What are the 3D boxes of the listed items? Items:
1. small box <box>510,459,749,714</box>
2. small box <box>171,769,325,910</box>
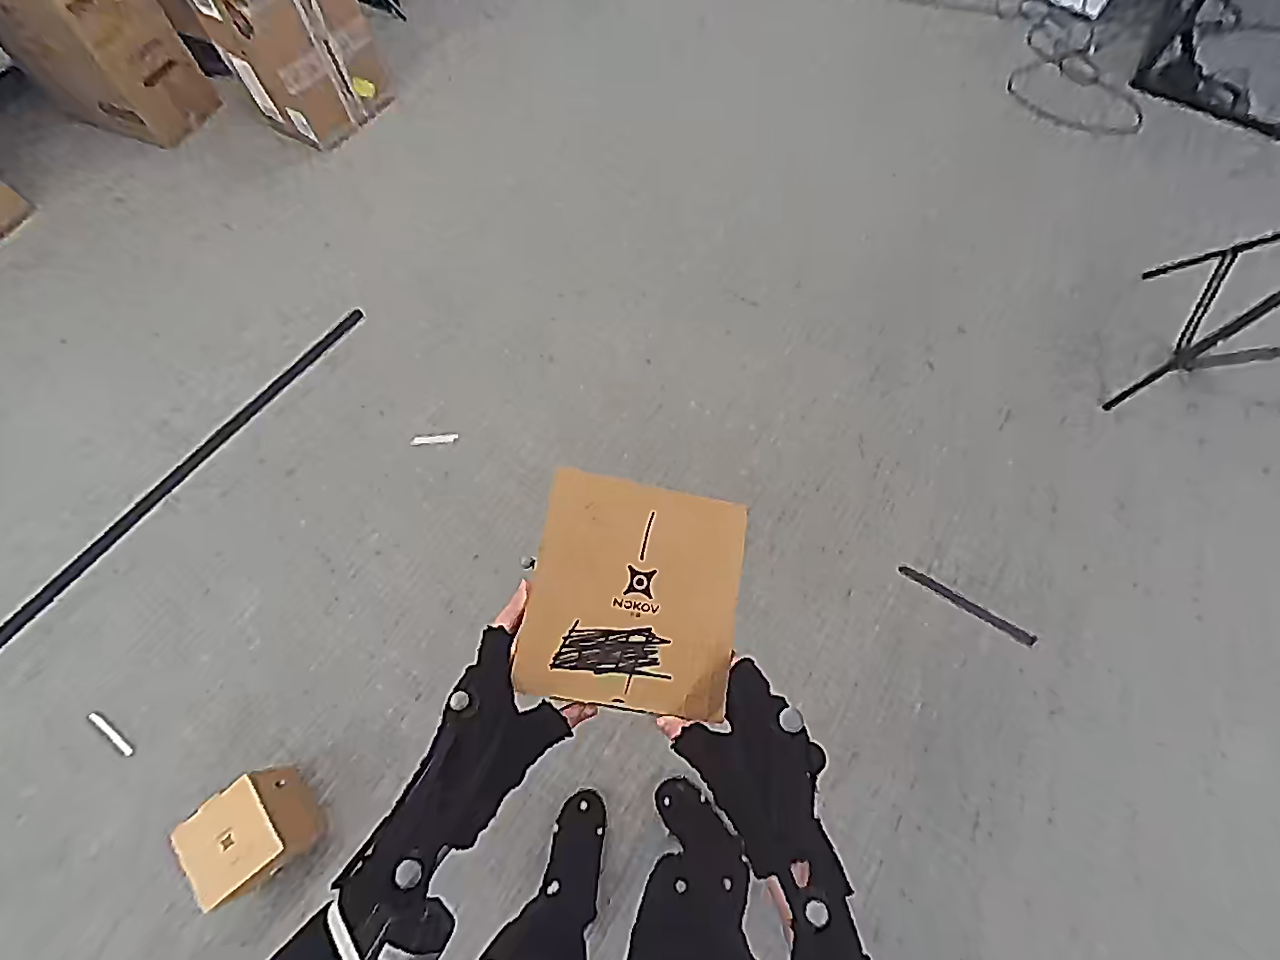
[{"bbox_3d":[-0.015,0.095,0.506,0.168,0.176,0.179,12,80,-7],"label":"small box"},{"bbox_3d":[-0.810,0.736,1.133,0.168,0.176,0.179,-38,73,-14],"label":"small box"}]
